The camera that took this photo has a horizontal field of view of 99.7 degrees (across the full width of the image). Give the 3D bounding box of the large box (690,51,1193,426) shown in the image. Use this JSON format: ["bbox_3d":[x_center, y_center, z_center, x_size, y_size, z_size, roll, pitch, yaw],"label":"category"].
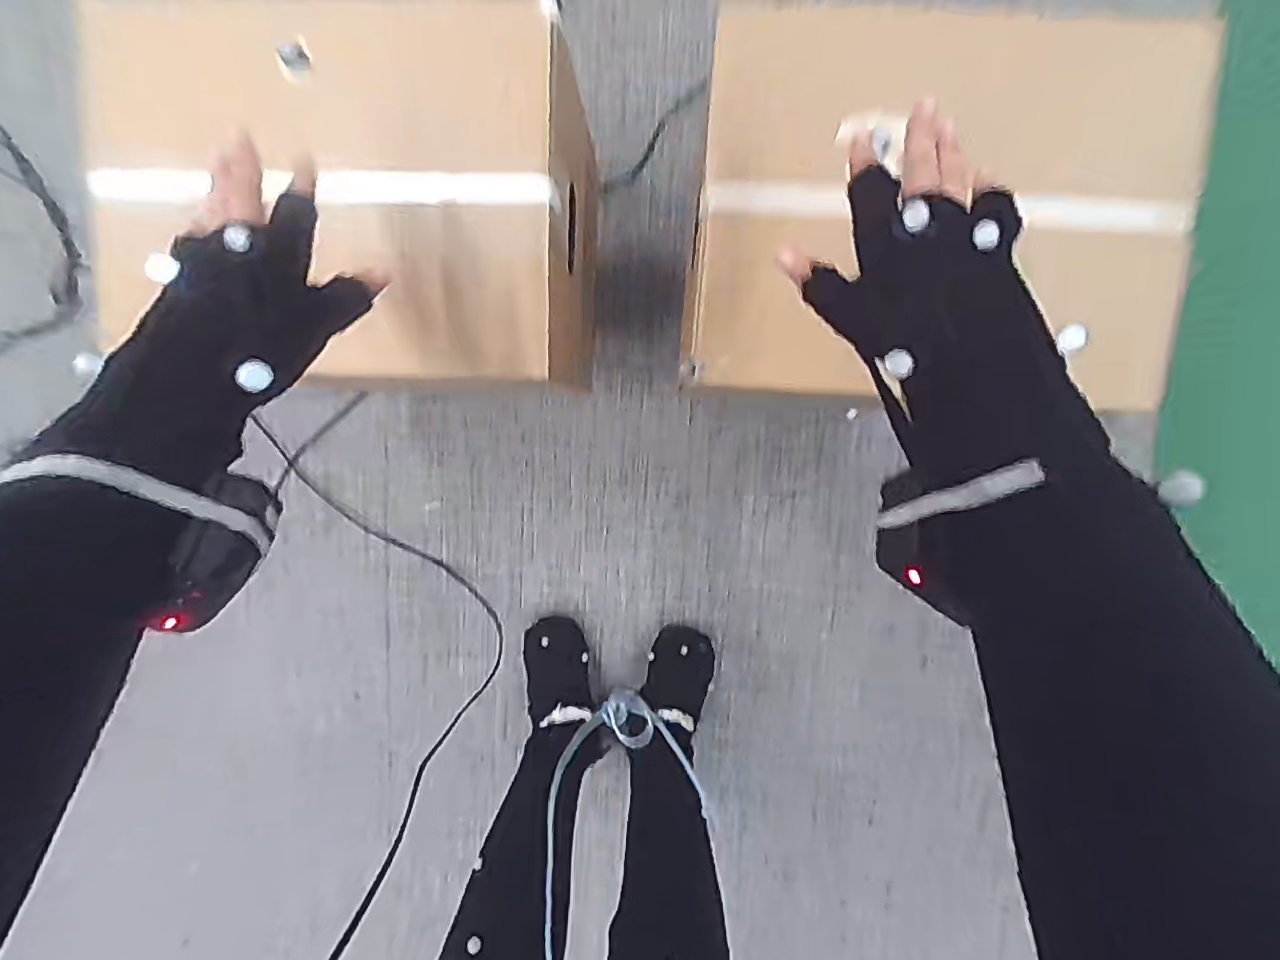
[{"bbox_3d":[0.275,-0.234,0.635,0.408,0.320,0.320,5,96,2],"label":"large box"}]
